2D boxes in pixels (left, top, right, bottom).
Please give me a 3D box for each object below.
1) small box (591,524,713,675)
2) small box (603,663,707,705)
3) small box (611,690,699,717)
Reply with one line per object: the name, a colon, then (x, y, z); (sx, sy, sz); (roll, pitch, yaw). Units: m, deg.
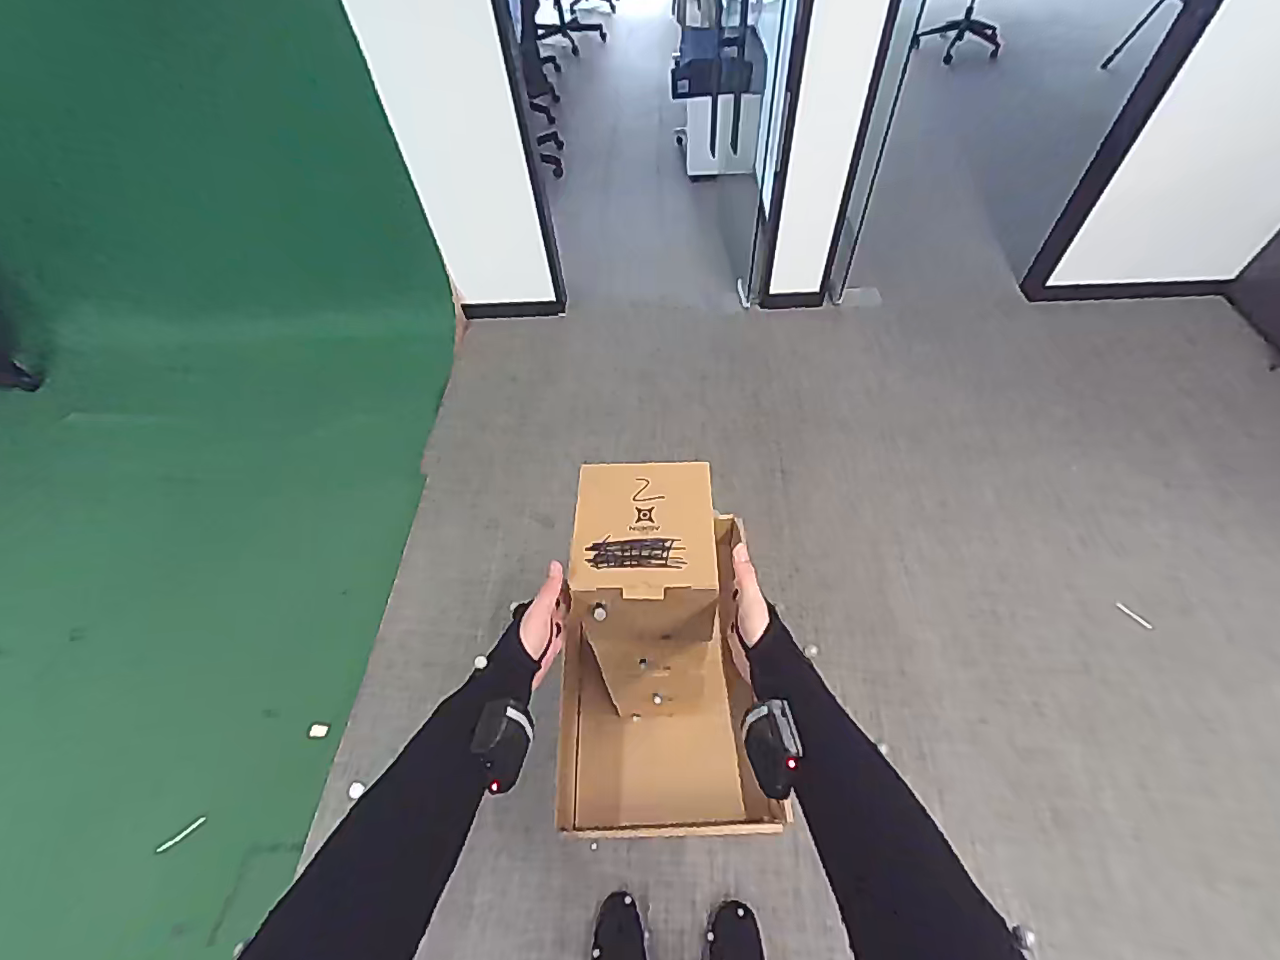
small box: (0.017, 0.186, 0.833); (0.168, 0.176, 0.179); (-3, 54, 1)
small box: (0.026, 0.285, 0.960); (0.168, 0.176, 0.179); (-3, 53, 2)
small box: (0.034, 0.374, 1.099); (0.168, 0.176, 0.179); (-2, 52, 2)
